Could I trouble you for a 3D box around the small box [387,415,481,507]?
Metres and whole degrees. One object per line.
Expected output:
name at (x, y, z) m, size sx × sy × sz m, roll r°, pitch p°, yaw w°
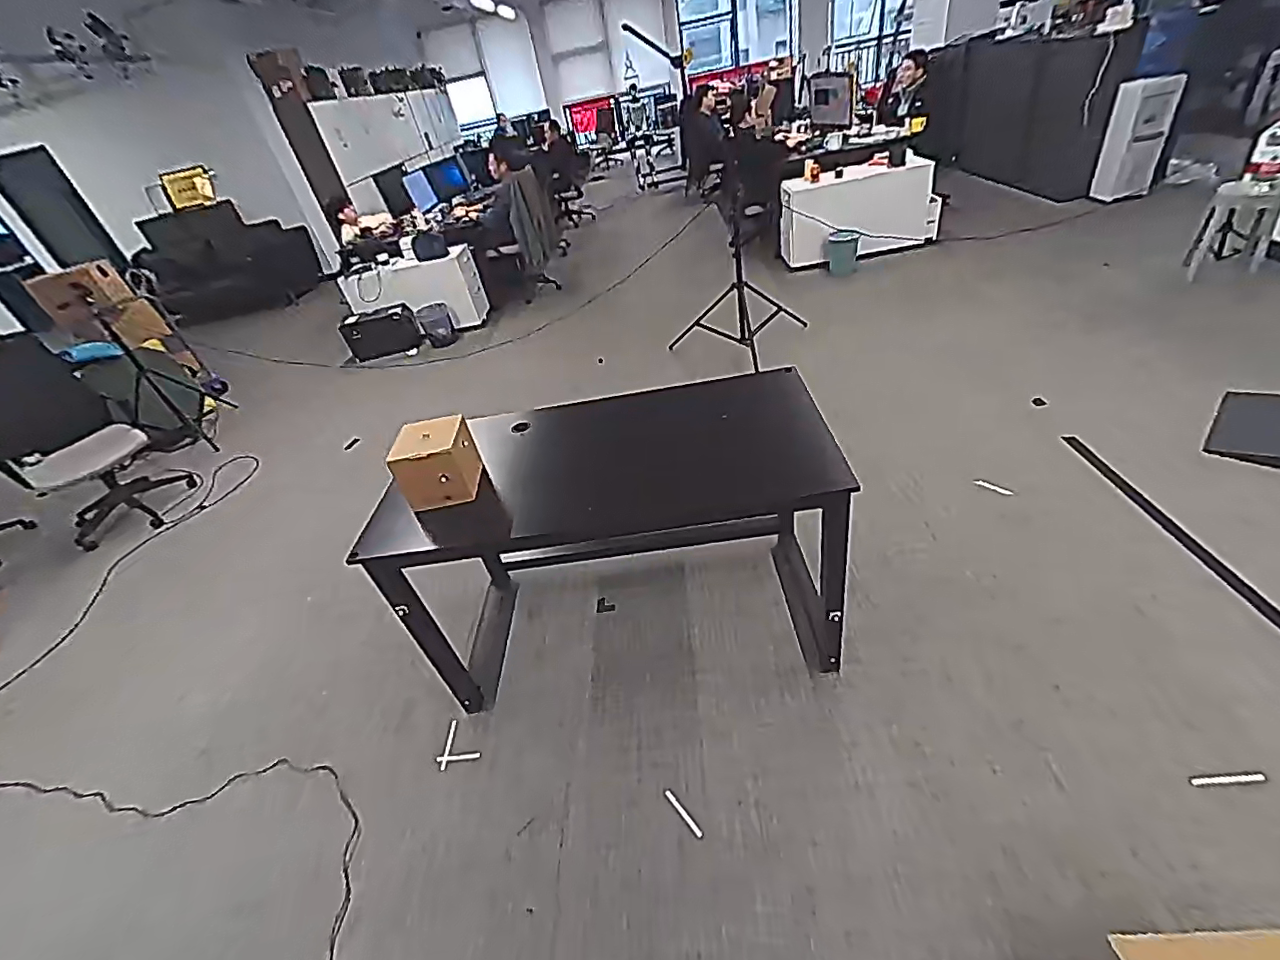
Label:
small box at (-0.530, -0.044, 1.421) m, size 0.168 × 0.176 × 0.179 m, roll -11°, pitch 36°, yaw 1°
